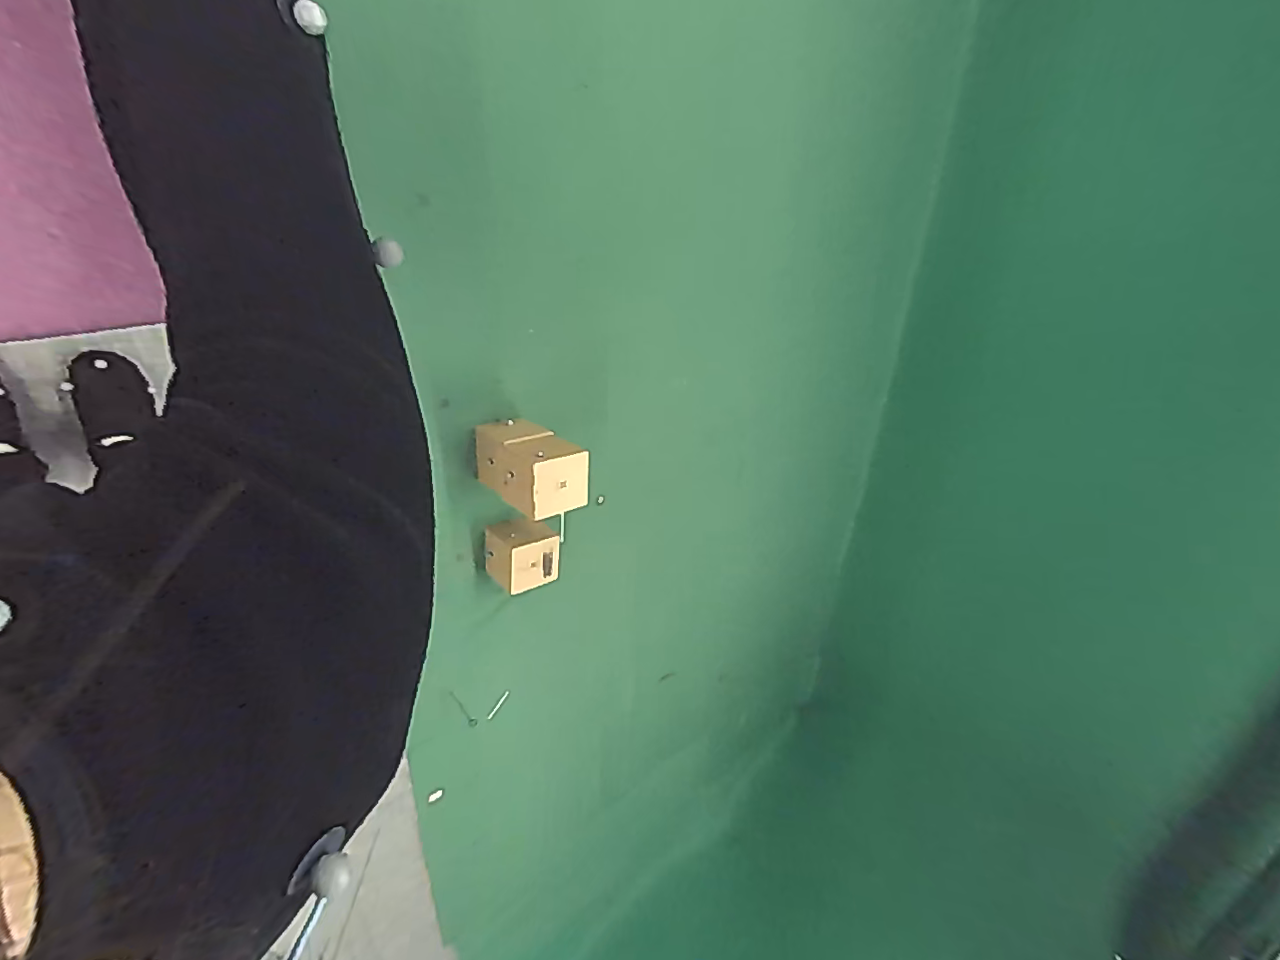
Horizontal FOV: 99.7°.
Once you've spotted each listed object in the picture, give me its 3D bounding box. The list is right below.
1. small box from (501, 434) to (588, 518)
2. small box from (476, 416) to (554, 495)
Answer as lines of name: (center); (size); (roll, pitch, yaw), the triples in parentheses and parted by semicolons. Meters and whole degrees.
small box: (-0.263, -0.020, 1.490); (0.179, 0.176, 0.168); (-17, 121, -39)
small box: (-0.370, -0.077, 1.600); (0.168, 0.176, 0.179); (-17, 120, -39)
